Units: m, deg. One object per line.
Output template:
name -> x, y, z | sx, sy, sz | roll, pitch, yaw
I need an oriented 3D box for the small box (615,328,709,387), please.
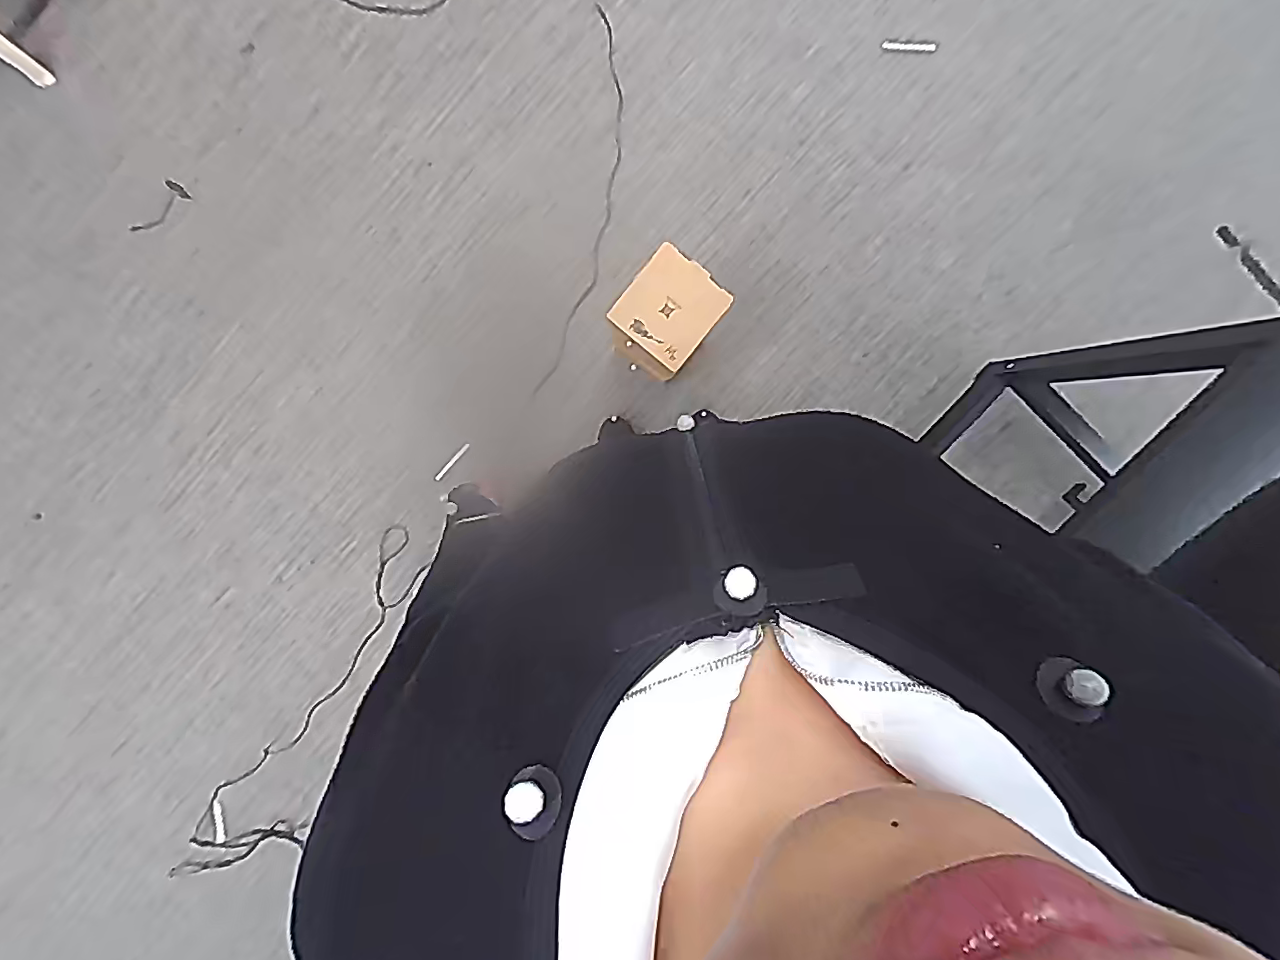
small box -> 0.052, -0.358, 1.385 | 0.168, 0.176, 0.179 | 39, 95, -3

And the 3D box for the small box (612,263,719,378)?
small box -> 0.054, -0.348, 1.223 | 0.168, 0.176, 0.179 | 36, 93, -4
